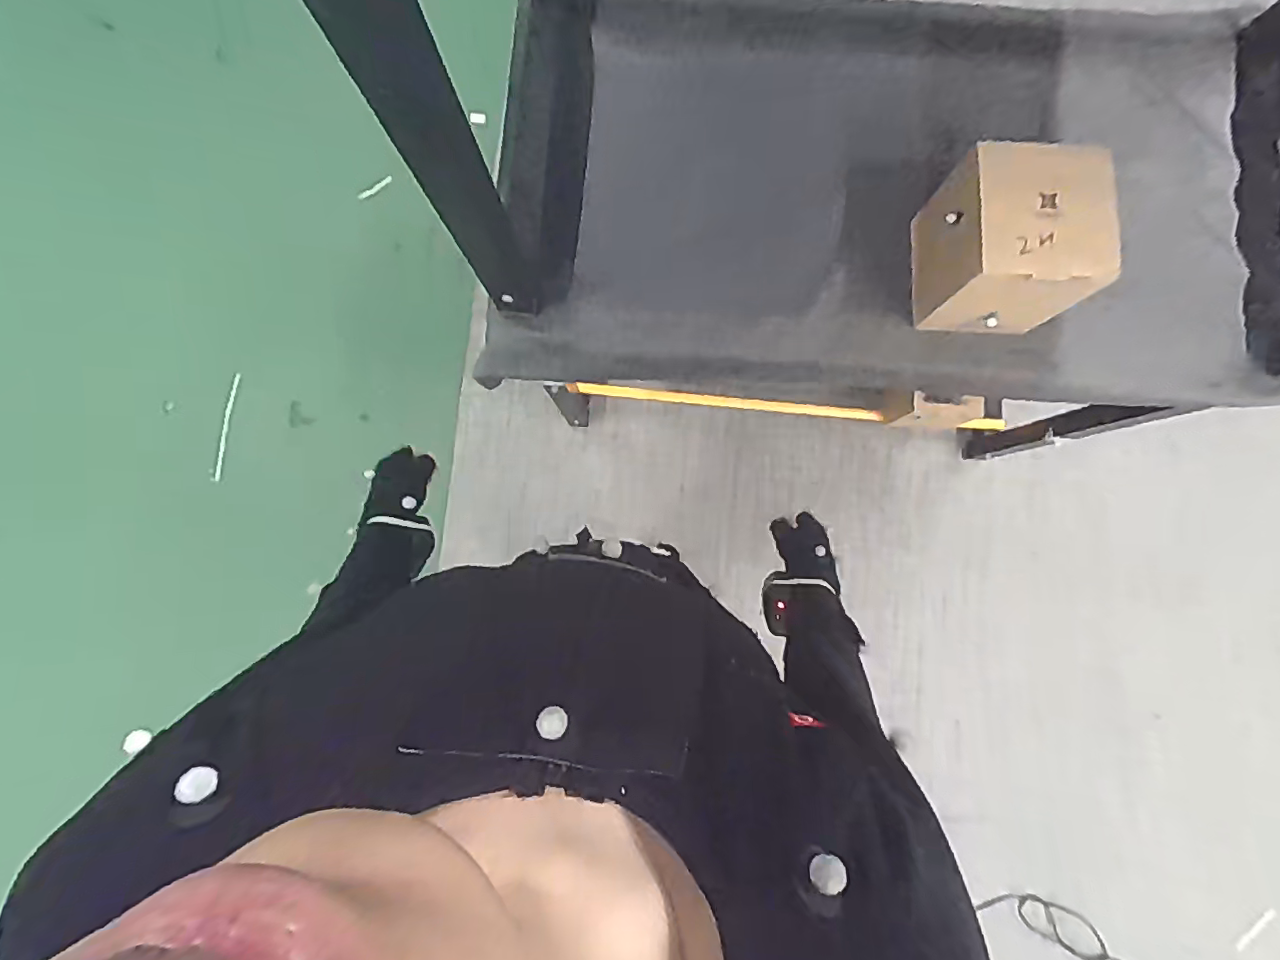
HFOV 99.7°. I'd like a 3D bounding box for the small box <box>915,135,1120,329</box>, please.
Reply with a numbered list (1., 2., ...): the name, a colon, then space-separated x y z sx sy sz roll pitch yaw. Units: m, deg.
1. small box: 0.495 -0.326 0.735 0.168 0.176 0.179 3 83 1
